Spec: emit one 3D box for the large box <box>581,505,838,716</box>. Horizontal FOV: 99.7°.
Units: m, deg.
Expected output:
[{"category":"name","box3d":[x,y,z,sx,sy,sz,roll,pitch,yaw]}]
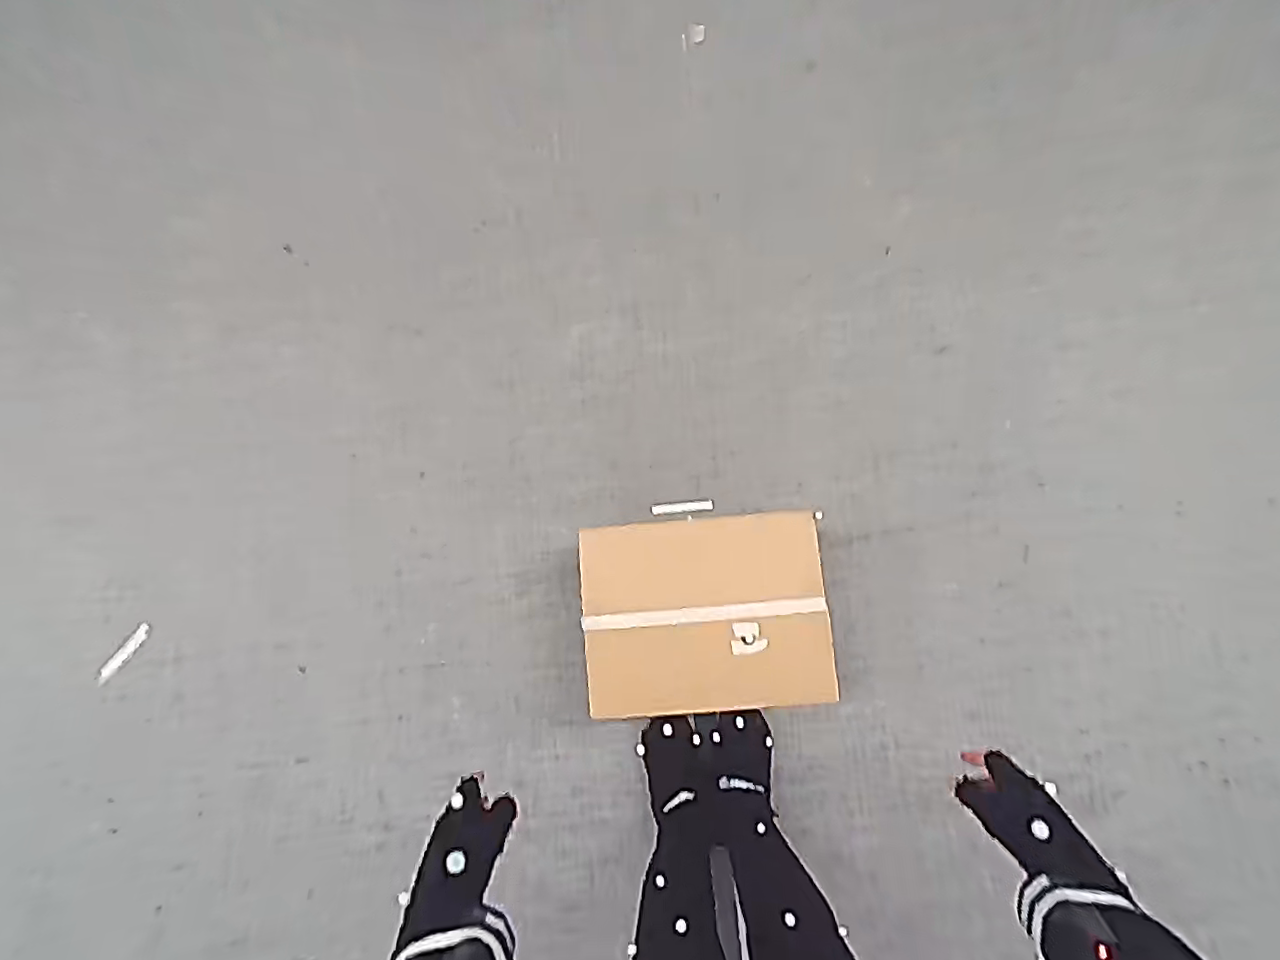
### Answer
[{"category":"large box","box3d":[0.113,0.237,1.045,0.408,0.320,0.320,-5,82,1]}]
